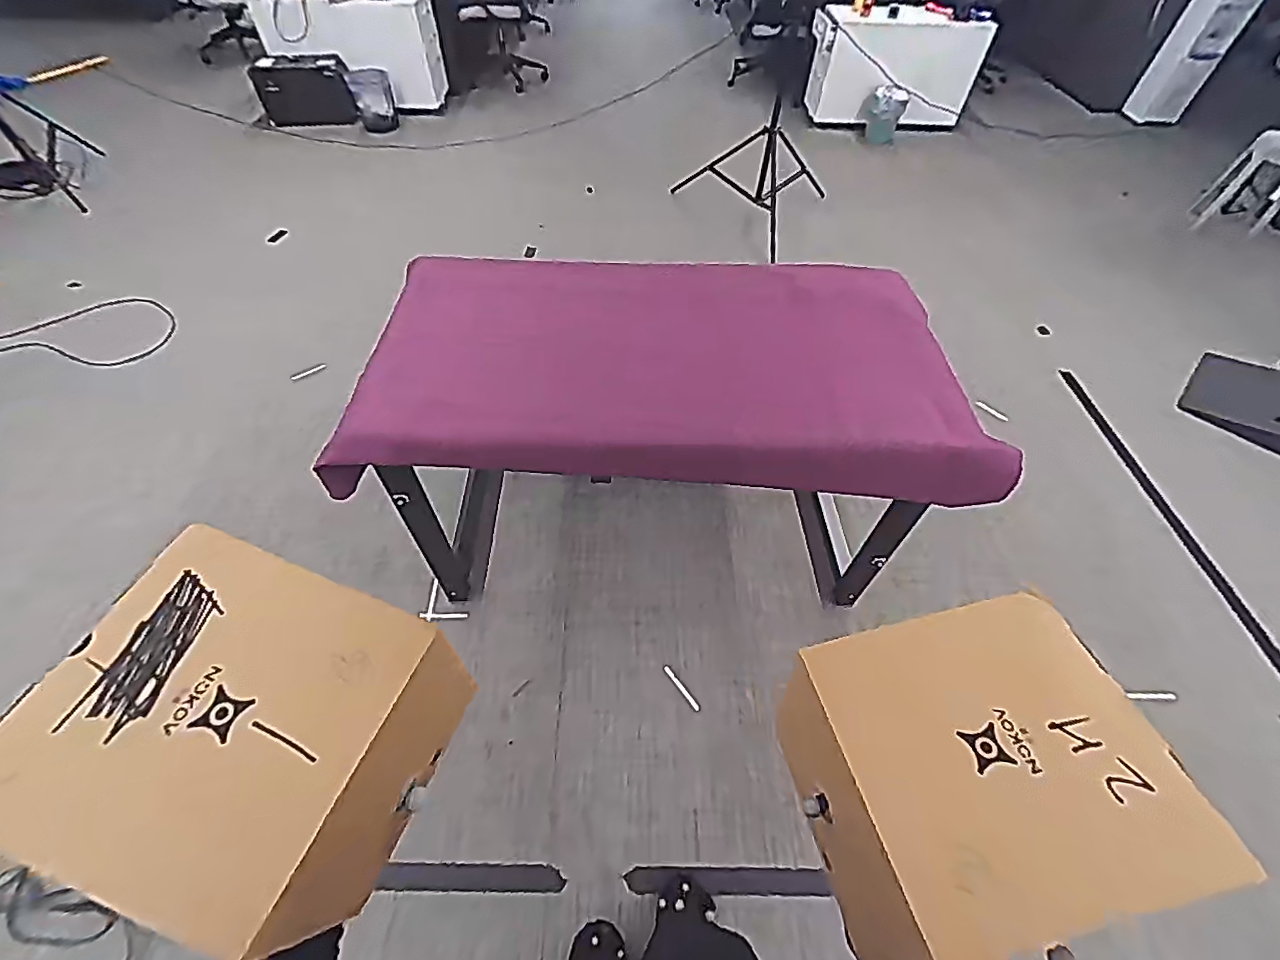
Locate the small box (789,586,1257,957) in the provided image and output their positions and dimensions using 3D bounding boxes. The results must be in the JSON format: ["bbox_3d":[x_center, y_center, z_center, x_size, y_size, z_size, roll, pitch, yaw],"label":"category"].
[{"bbox_3d":[0.214,0.201,0.372,0.179,0.176,0.168,-13,50,-4],"label":"small box"}]

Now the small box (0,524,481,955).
[{"bbox_3d":[-0.228,0.161,0.355,0.179,0.176,0.168,21,58,5],"label":"small box"}]
